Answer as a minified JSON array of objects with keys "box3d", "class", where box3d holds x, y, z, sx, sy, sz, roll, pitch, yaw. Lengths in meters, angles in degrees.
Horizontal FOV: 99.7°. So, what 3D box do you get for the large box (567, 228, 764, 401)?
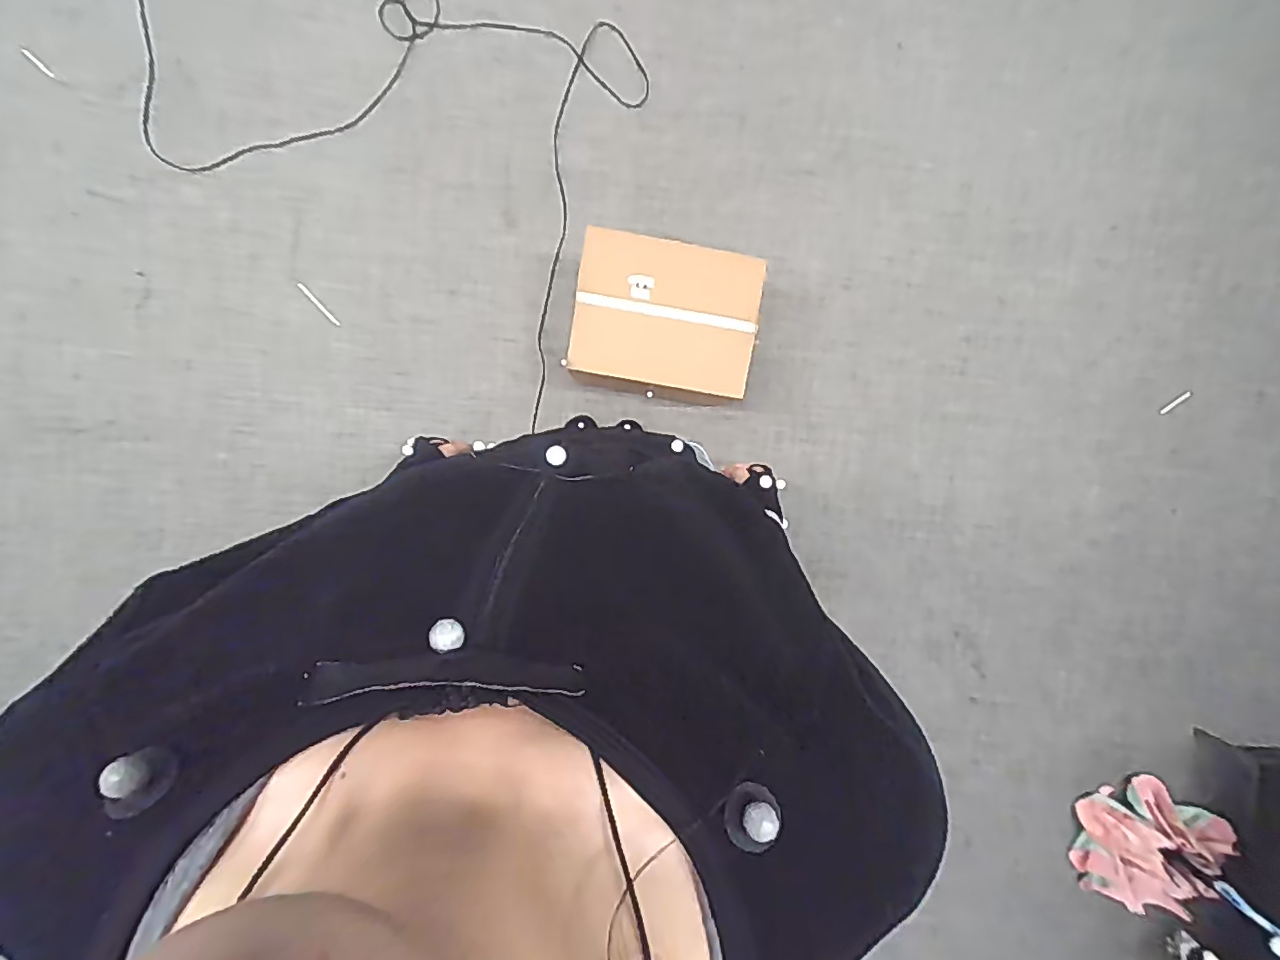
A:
[{"box3d":[0.053,-0.383,1.342,0.408,0.320,0.320,10,94,-3],"class":"large box"}]
